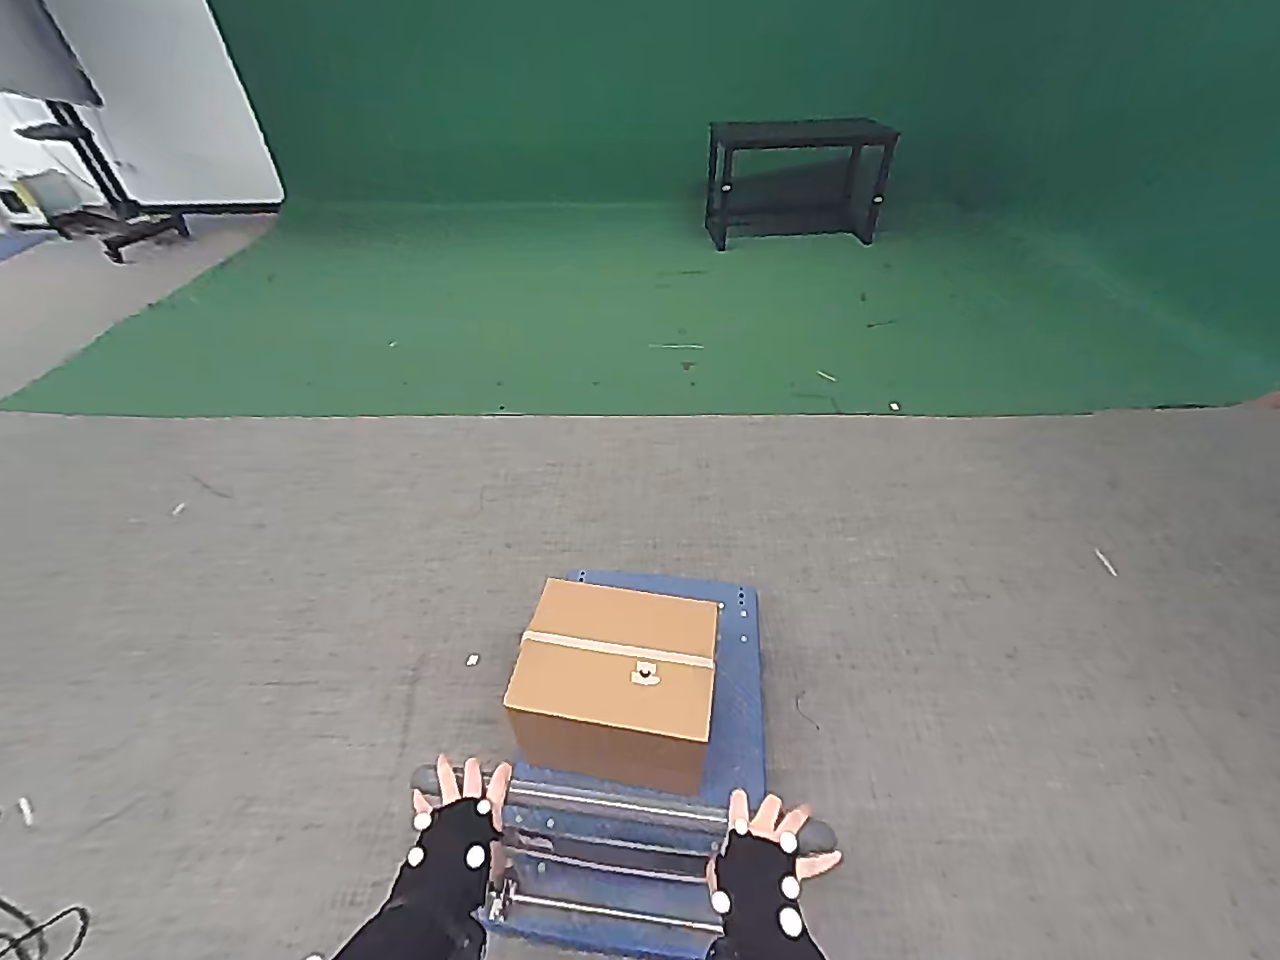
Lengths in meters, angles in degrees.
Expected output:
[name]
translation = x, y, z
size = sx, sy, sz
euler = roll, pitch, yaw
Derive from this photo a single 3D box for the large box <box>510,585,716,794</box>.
[large box]
translation = -0.048, 0.483, 1.258
size = 0.408, 0.320, 0.320
euler = 7, 43, 6
